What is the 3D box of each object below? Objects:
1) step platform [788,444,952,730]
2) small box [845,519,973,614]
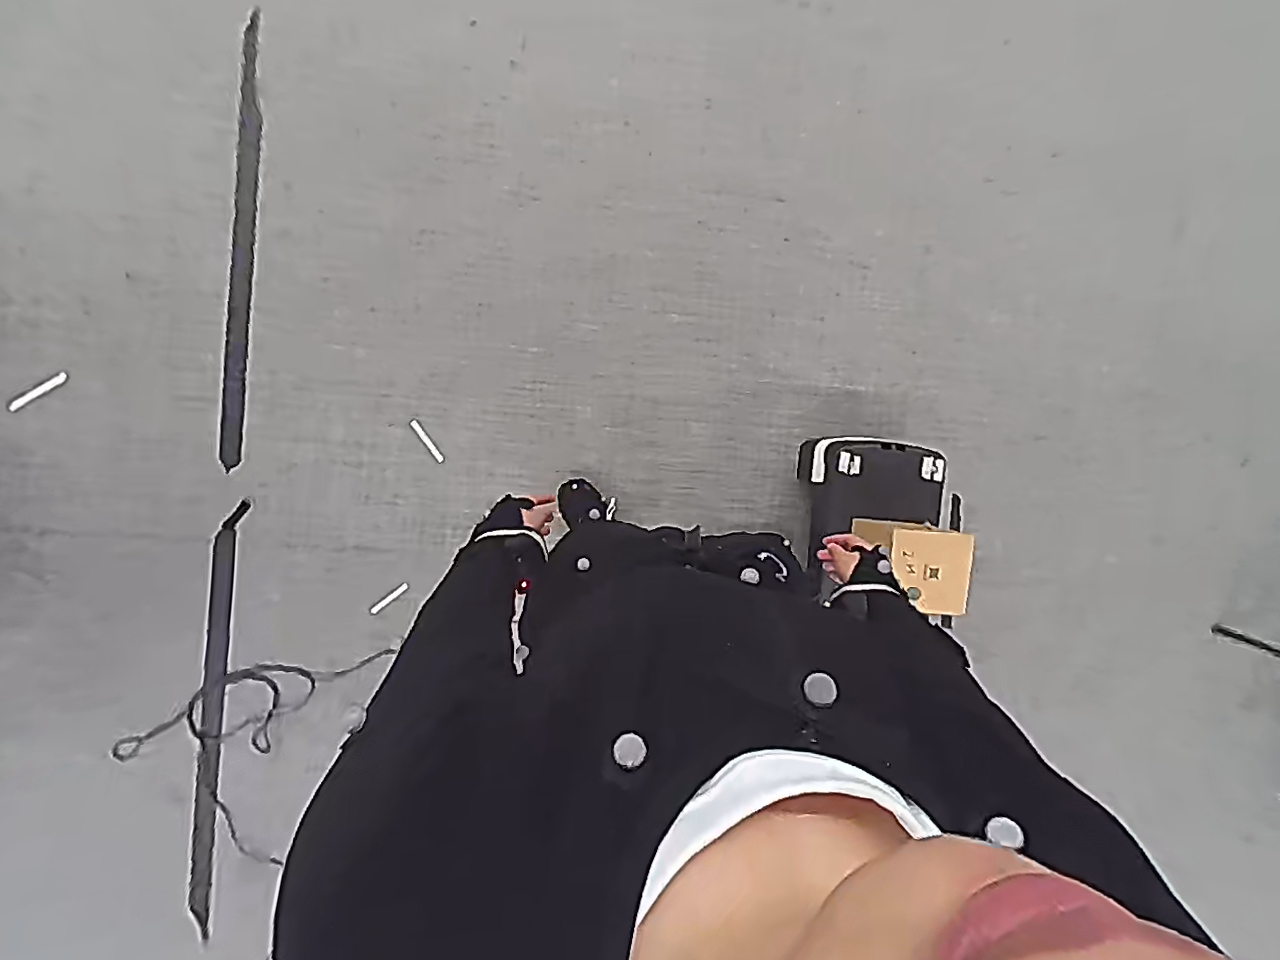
[{"bbox_3d":[0.562,0.254,1.338,0.286,0.204,0.684,4,92,-6],"label":"step platform"},{"bbox_3d":[0.568,0.178,1.160,0.179,0.176,0.168,6,91,-6],"label":"small box"}]
